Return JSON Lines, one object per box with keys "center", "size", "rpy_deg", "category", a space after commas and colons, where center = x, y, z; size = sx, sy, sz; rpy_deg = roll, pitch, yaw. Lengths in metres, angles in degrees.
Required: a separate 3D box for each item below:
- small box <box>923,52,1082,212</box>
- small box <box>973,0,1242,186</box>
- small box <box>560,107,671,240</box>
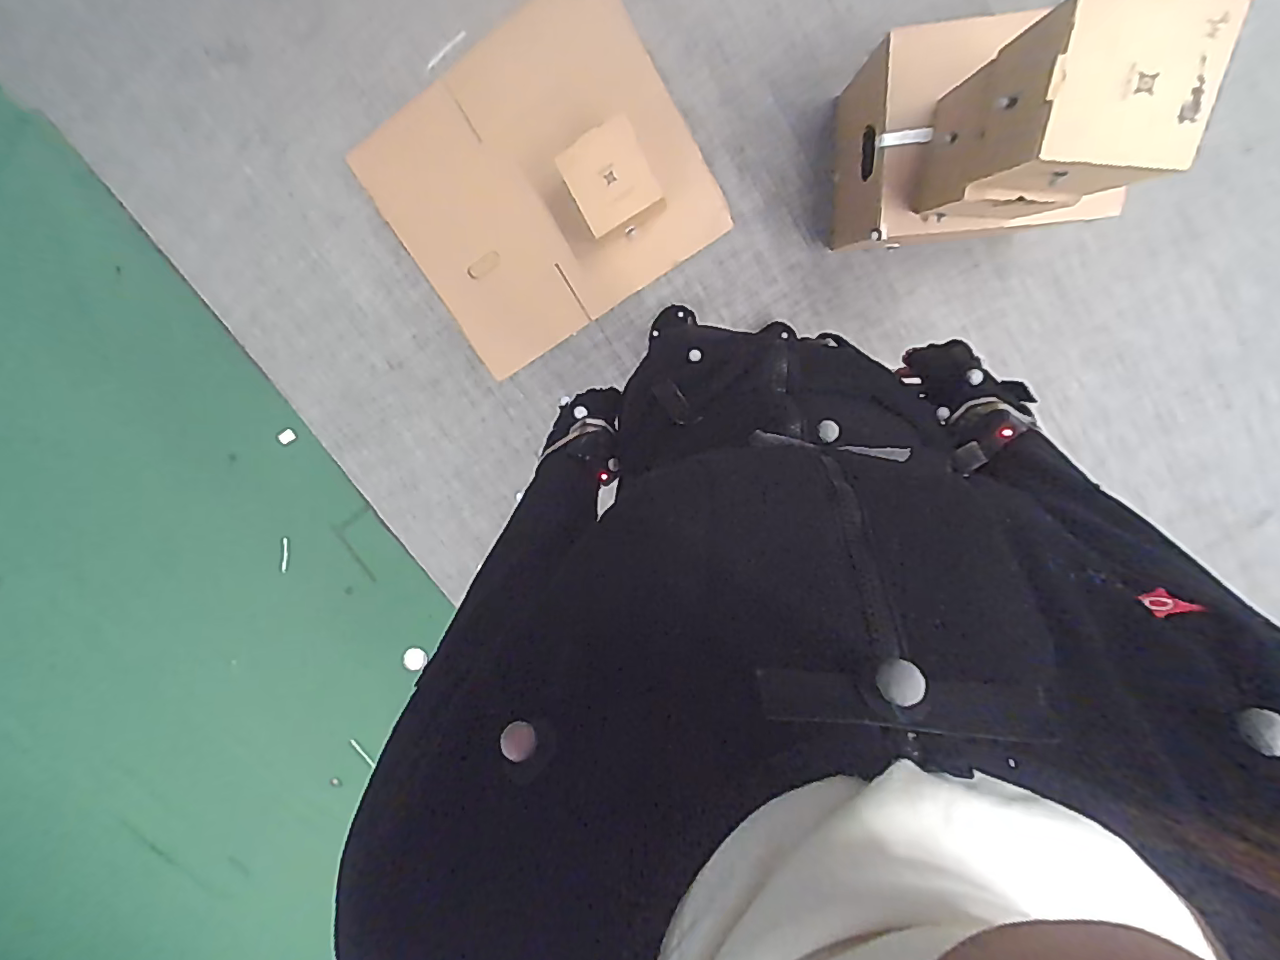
{"center": [0.559, -0.516, 0.826], "size": [0.168, 0.176, 0.179], "rpy_deg": [4, 109, 3], "category": "small box"}
{"center": [0.553, -0.474, 0.670], "size": [0.179, 0.176, 0.168], "rpy_deg": [3, 108, 3], "category": "small box"}
{"center": [-0.044, -0.638, 1.151], "size": [0.168, 0.176, 0.179], "rpy_deg": [-27, 105, 14], "category": "small box"}
